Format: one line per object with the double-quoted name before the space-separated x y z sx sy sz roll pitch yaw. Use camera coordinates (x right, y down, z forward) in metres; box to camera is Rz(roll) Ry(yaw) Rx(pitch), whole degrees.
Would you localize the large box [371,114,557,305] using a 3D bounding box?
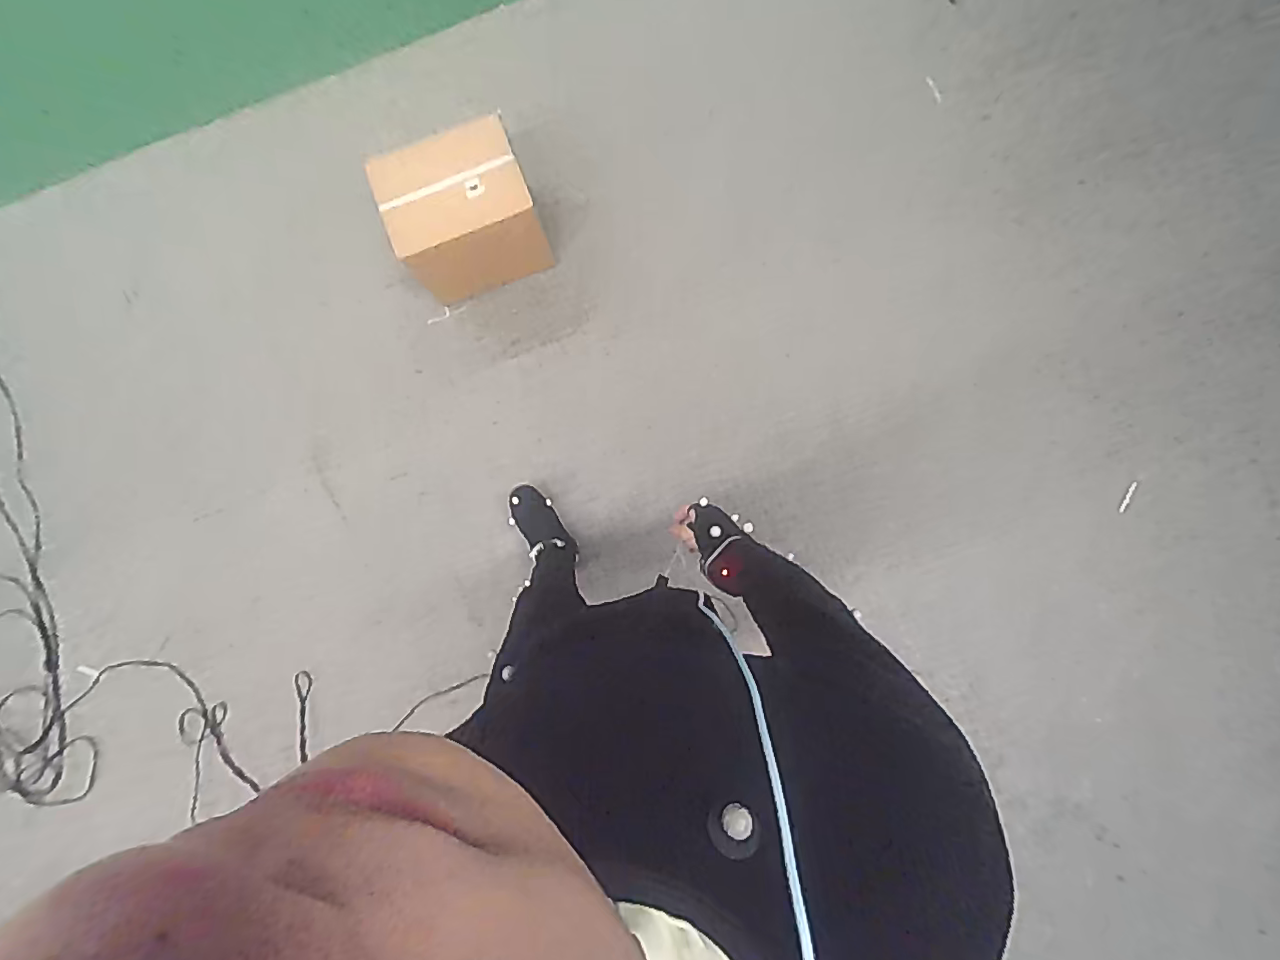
"large box" -0.512 -0.795 1.637 0.408 0.320 0.320 -21 82 0
